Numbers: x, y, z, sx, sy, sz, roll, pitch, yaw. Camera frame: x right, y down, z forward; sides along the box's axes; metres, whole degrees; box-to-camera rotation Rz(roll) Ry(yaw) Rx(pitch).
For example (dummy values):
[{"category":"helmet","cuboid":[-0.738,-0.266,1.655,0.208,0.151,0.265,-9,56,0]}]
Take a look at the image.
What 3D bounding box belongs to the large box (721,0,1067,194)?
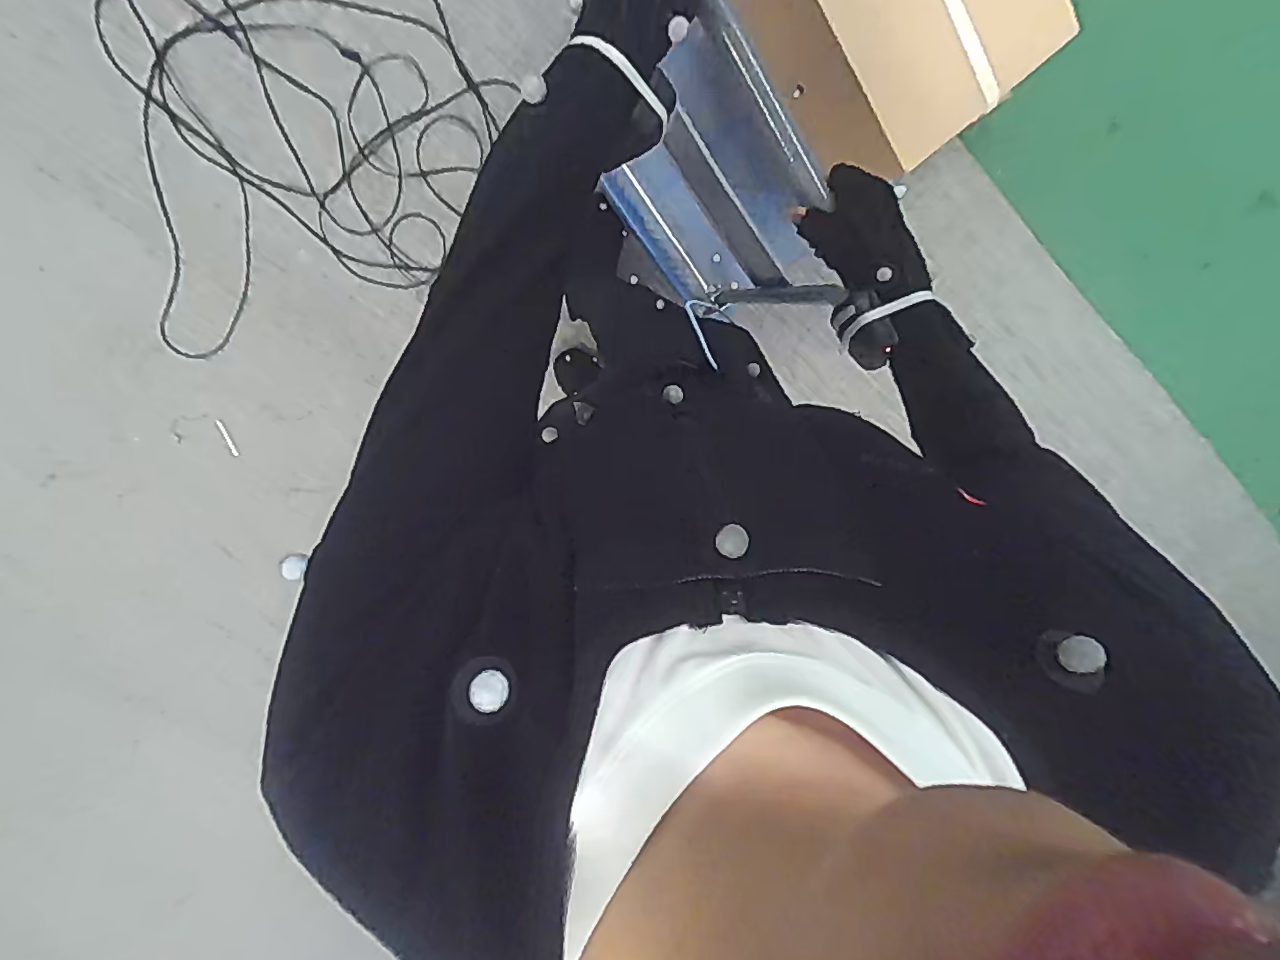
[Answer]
[{"category":"large box","cuboid":[0.400,-0.780,0.923,0.320,0.320,0.408,-38,109,8]}]
